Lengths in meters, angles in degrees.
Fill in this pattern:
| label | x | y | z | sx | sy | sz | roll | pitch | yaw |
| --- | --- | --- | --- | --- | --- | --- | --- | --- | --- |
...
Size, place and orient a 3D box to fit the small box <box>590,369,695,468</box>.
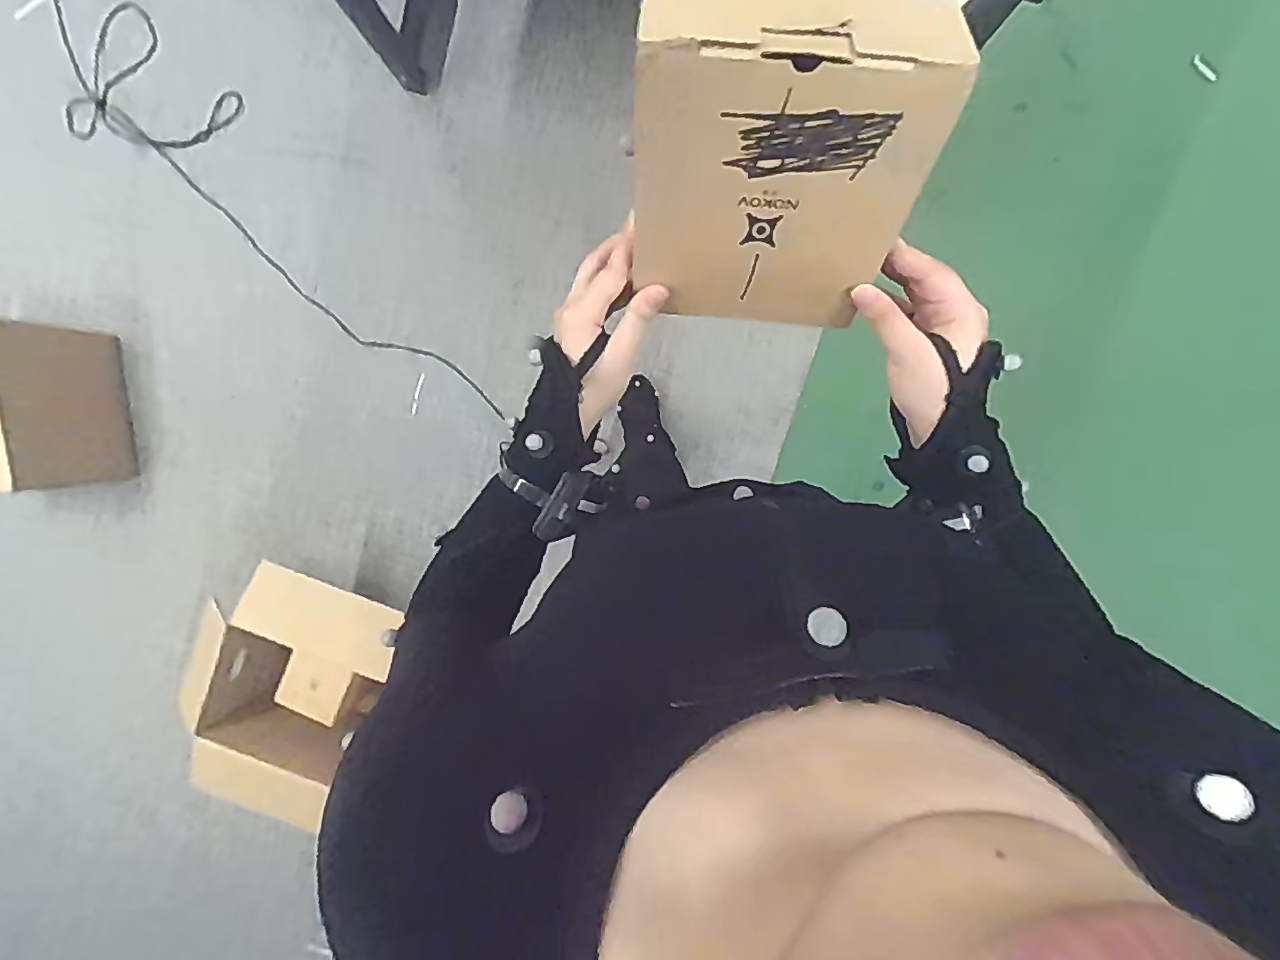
| label | x | y | z | sx | sy | sz | roll | pitch | yaw |
| --- | --- | --- | --- | --- | --- | --- | --- | --- | --- |
| small box | 0.014 | -0.156 | 1.355 | 0.176 | 0.168 | 0.179 | 46 | 74 | -32 |
